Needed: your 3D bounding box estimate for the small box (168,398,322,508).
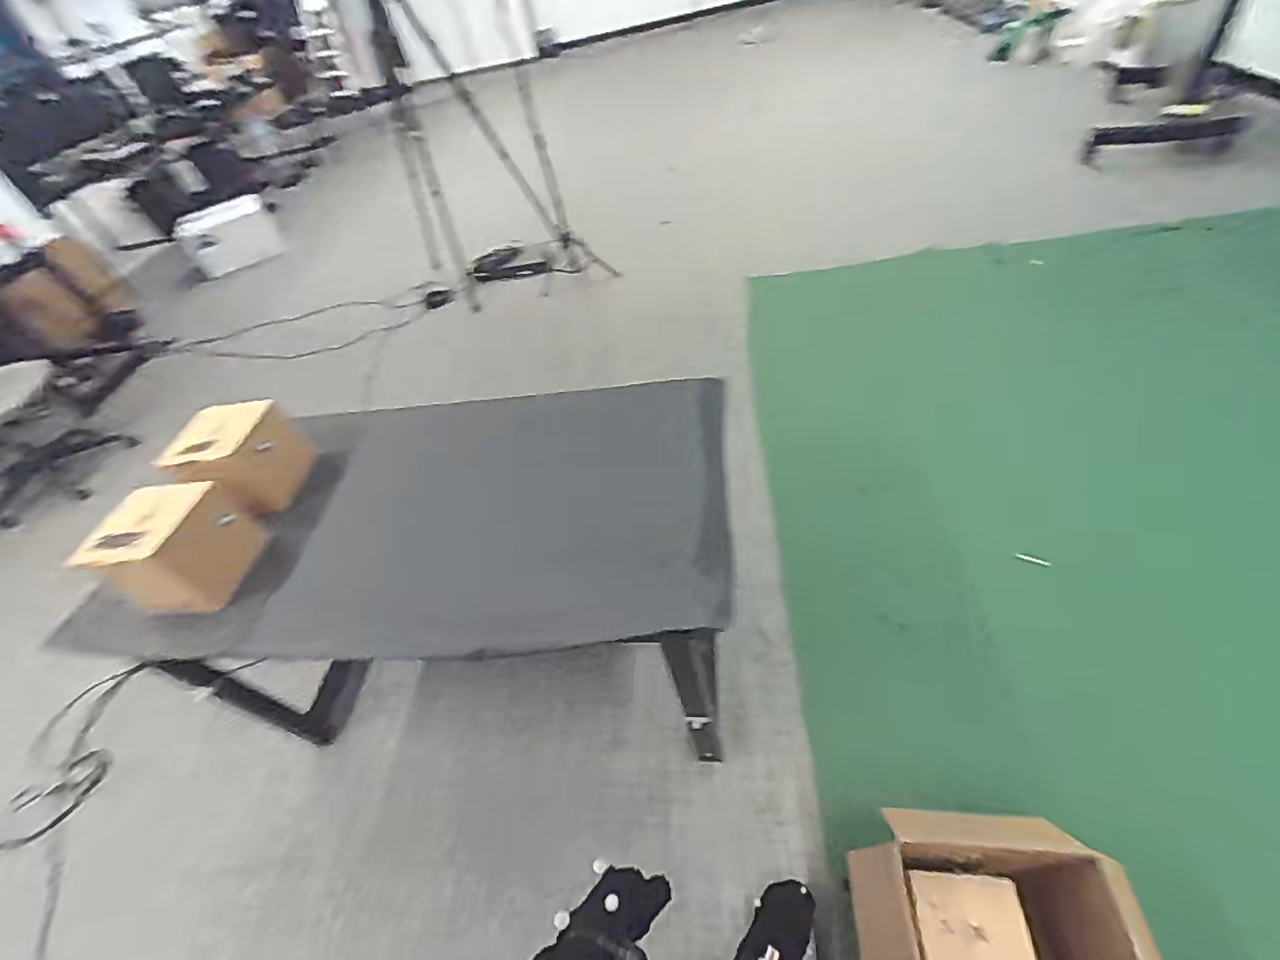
[{"bbox_3d":[-0.832,-0.051,1.164,0.168,0.176,0.179,-5,48,10],"label":"small box"}]
